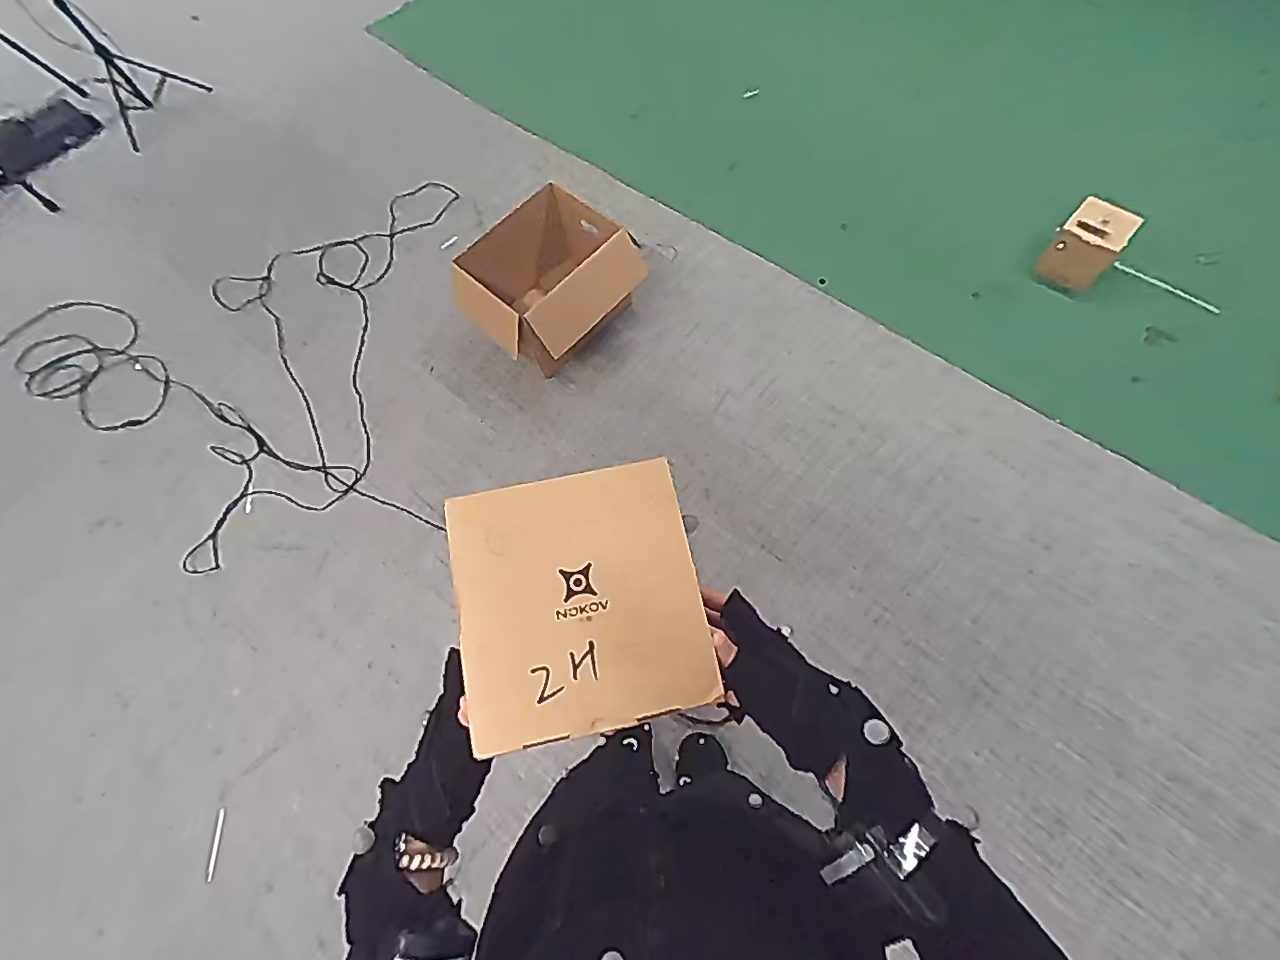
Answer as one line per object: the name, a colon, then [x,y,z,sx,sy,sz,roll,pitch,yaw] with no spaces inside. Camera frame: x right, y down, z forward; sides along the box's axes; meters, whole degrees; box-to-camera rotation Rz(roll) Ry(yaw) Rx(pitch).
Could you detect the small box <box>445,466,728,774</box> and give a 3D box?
small box: [-0.043,0.108,0.433,0.168,0.176,0.179,-11,73,-5]
